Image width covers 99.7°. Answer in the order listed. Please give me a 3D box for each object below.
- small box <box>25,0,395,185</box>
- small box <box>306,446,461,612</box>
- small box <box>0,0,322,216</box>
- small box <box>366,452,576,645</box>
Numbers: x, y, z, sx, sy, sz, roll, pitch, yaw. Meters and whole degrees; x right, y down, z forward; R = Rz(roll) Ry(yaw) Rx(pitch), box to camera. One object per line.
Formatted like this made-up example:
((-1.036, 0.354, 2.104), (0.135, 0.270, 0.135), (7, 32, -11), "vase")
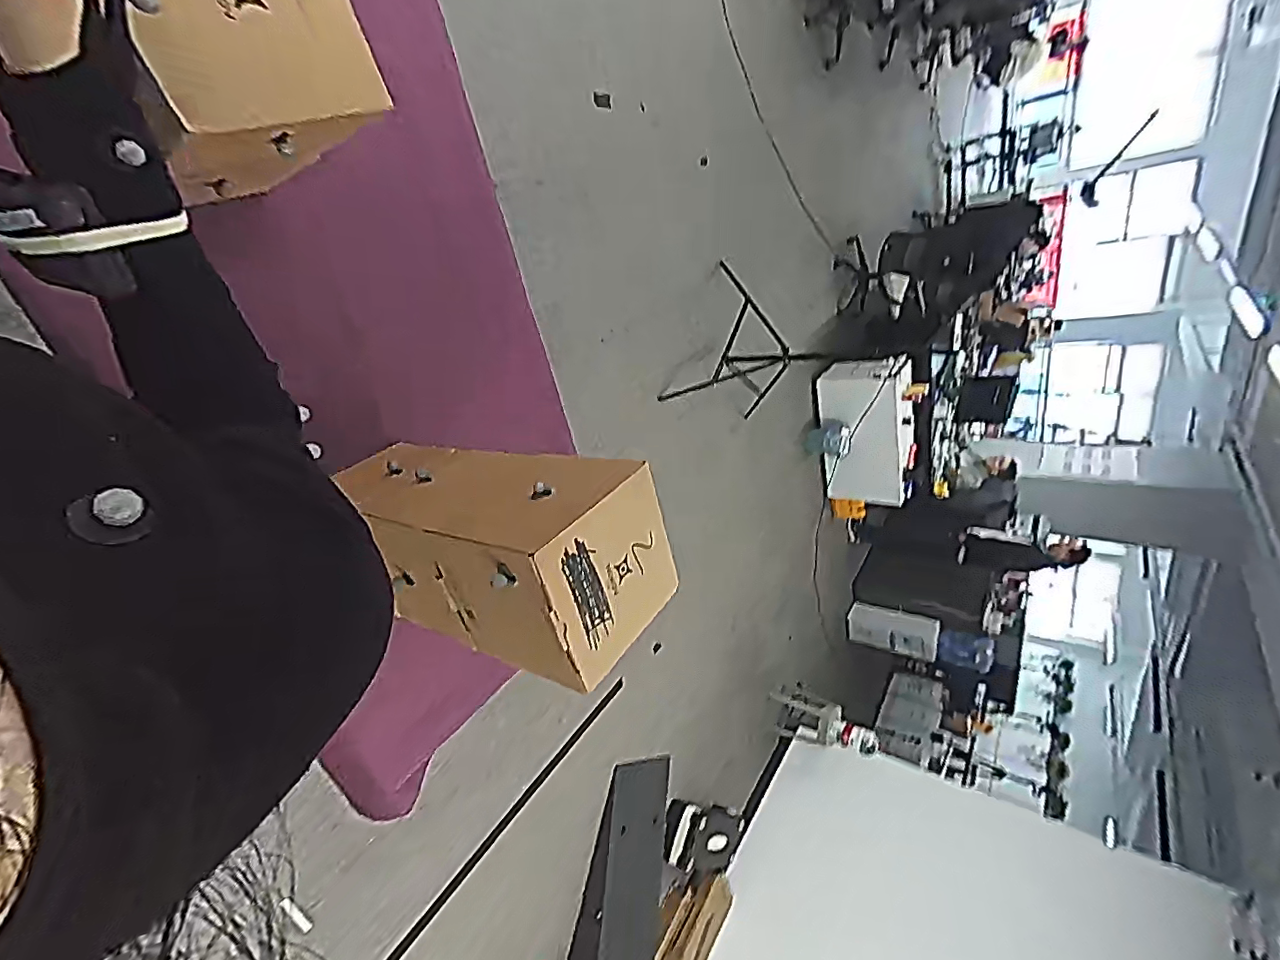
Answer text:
((-0.351, -0.361, 0.444), (0.179, 0.176, 0.168), (-46, 131, -39), "small box")
((-0.349, 0.060, 0.785), (0.179, 0.176, 0.168), (-40, 125, -43), "small box")
((-0.476, -0.382, 0.546), (0.179, 0.176, 0.168), (-44, 129, -40), "small box")
((-0.217, 0.073, 0.689), (0.179, 0.176, 0.168), (-38, 124, -43), "small box")
